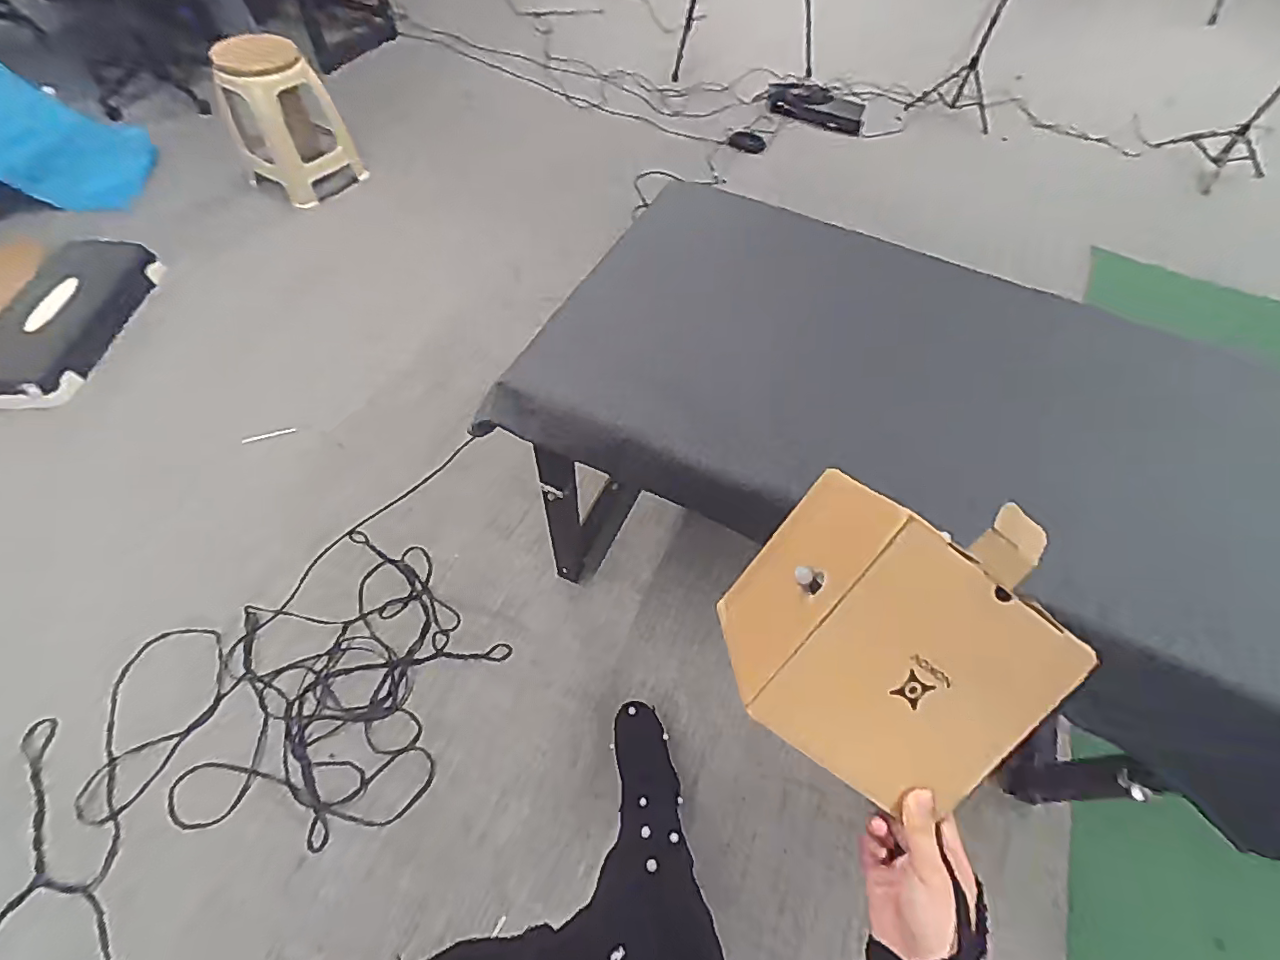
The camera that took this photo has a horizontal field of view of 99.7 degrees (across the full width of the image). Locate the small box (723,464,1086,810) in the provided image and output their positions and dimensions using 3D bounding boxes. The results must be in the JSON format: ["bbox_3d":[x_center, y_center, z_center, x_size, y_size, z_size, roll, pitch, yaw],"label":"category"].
[{"bbox_3d":[0.184,0.108,0.443,0.168,0.176,0.179,35,98,-6],"label":"small box"}]
